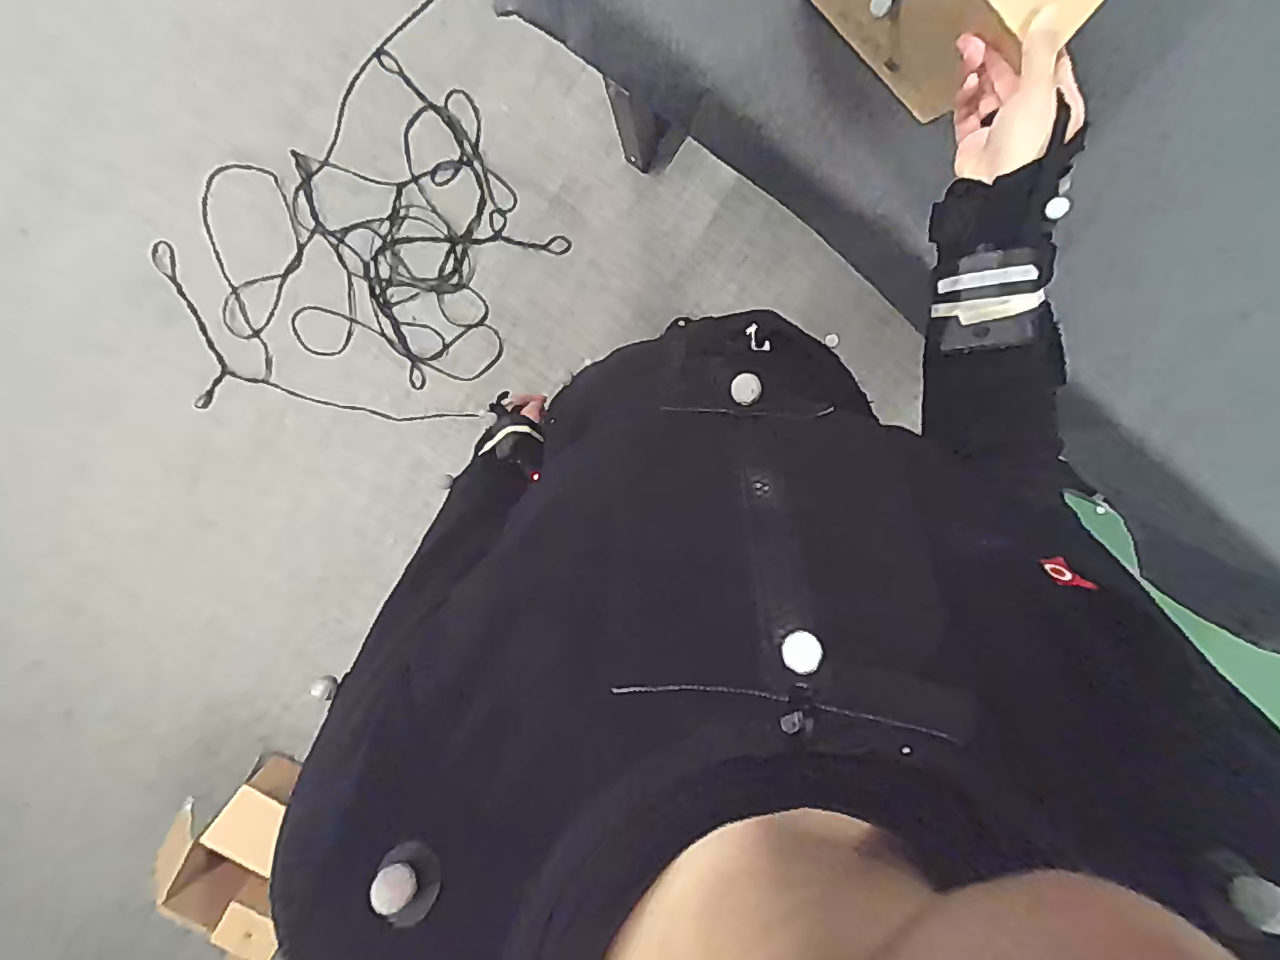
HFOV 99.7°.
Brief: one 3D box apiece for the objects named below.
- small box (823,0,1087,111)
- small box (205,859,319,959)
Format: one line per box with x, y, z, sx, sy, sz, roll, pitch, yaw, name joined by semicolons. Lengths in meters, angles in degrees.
0.249;-0.412;0.383;0.168;0.176;0.179;36;105;-13;small box
-1.023;1.198;1.478;0.168;0.176;0.179;32;103;-5;small box
